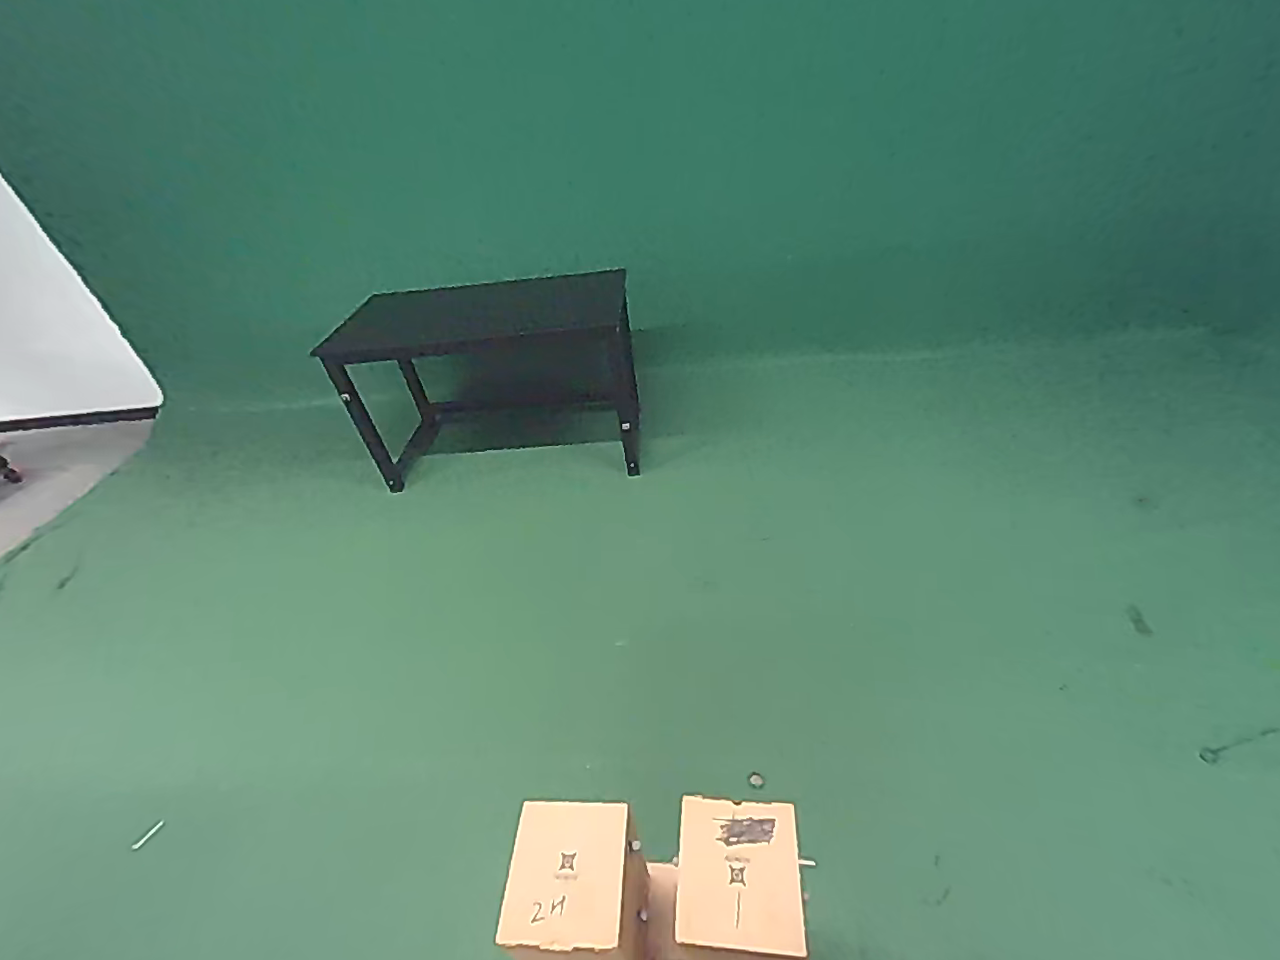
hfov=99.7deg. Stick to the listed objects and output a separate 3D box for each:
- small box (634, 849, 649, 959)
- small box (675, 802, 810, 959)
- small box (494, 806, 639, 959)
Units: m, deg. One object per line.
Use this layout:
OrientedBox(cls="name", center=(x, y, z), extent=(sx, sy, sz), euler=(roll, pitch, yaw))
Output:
OrientedBox(cls="small box", center=(-0.078, 0.740, 0.903), extent=(0.168, 0.176, 0.179), euler=(-2, 38, 8))
OrientedBox(cls="small box", center=(0.145, 0.593, 0.771), extent=(0.168, 0.176, 0.179), euler=(-2, 39, 11))
OrientedBox(cls="small box", center=(-0.094, 0.613, 0.799), extent=(0.168, 0.176, 0.179), euler=(-3, 38, 7))
